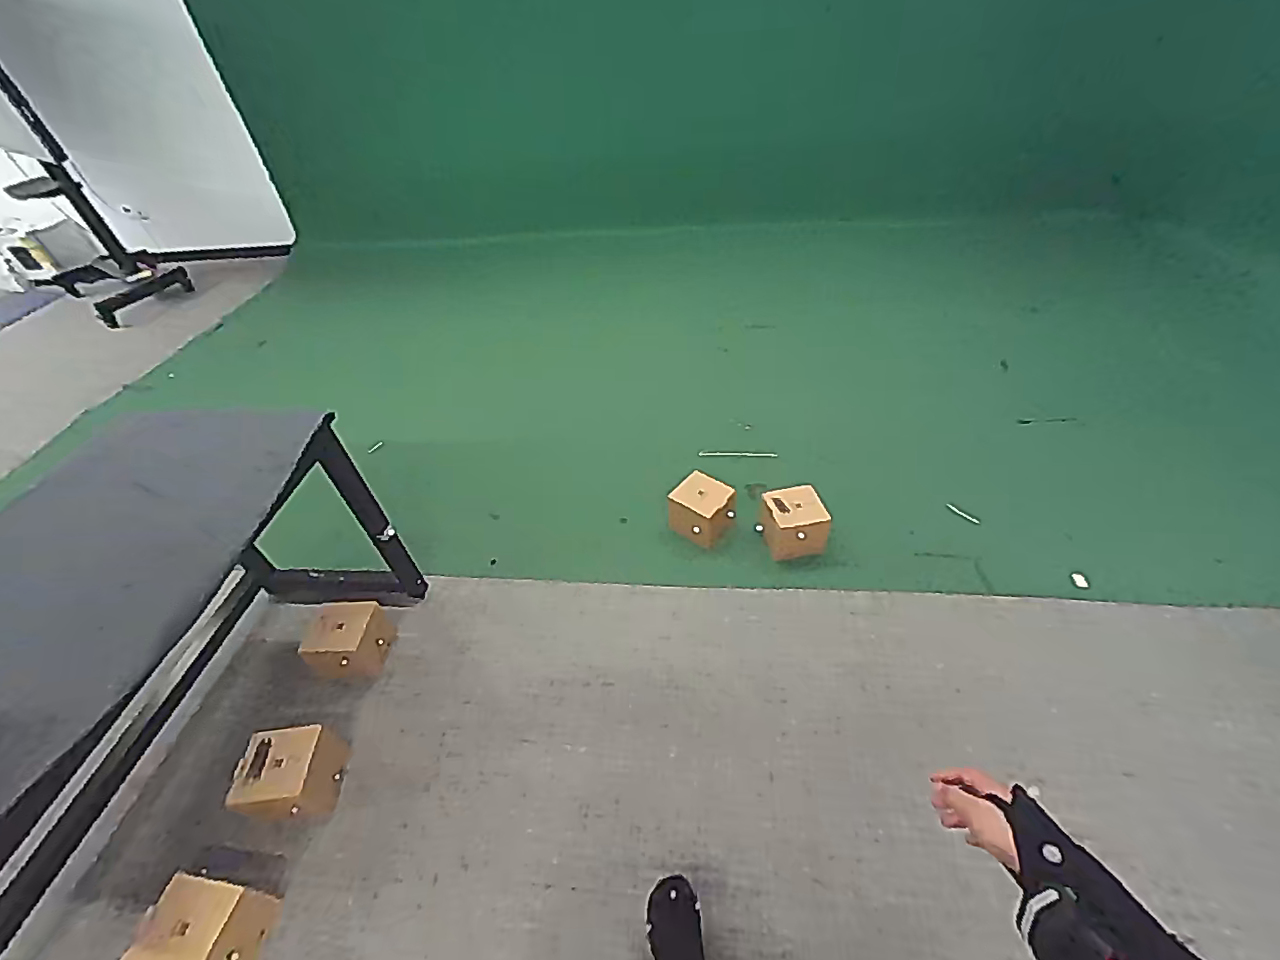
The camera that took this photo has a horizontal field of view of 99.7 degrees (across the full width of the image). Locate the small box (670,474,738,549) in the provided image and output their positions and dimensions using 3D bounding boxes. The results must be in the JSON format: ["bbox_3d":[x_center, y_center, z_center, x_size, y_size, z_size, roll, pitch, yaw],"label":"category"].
[{"bbox_3d":[0.223,0.114,1.884,0.179,0.176,0.168,28,52,31],"label":"small box"}]

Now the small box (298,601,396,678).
[{"bbox_3d":[-0.865,0.478,1.619,0.179,0.176,0.168,-2,43,4],"label":"small box"}]

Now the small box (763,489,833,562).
[{"bbox_3d":[0.518,0.156,1.807,0.179,0.176,0.168,-9,44,-5],"label":"small box"}]

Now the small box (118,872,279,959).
[{"bbox_3d":[-0.914,0.952,1.135,0.179,0.176,0.168,4,45,10],"label":"small box"}]
